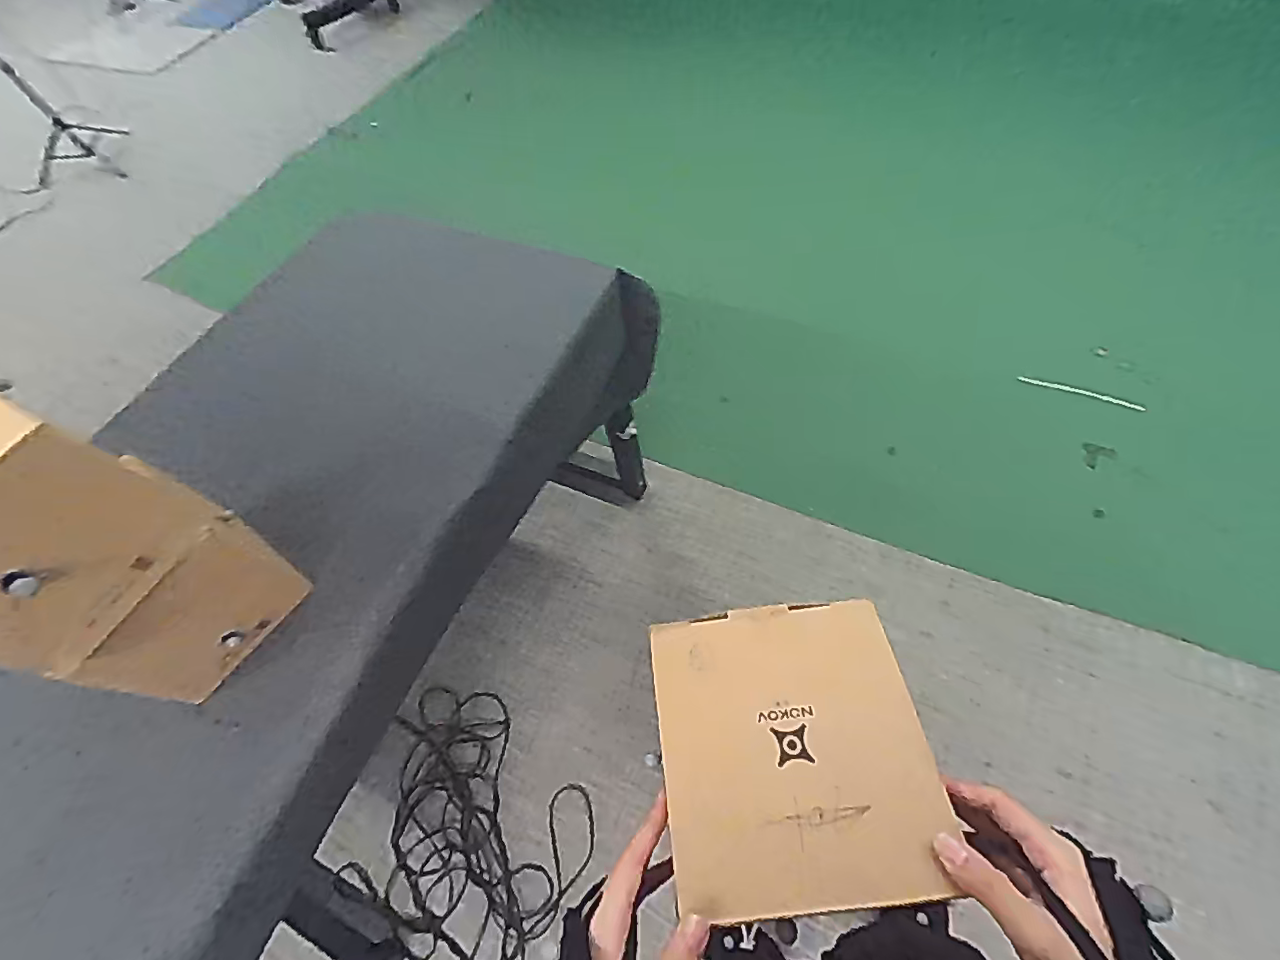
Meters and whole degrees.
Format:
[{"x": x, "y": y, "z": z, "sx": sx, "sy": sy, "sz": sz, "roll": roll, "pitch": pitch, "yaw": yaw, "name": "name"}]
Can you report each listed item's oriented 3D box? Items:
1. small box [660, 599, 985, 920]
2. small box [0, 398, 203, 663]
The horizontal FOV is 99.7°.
[{"x": 0.105, "y": 0.211, "z": 0.405, "sx": 0.168, "sy": 0.176, "sz": 0.179, "roll": -7, "pitch": 52, "yaw": 1, "name": "small box"}, {"x": -0.529, "y": 0.034, "z": 0.446, "sx": 0.179, "sy": 0.176, "sz": 0.168, "roll": 22, "pitch": 65, "yaw": 18, "name": "small box"}]
